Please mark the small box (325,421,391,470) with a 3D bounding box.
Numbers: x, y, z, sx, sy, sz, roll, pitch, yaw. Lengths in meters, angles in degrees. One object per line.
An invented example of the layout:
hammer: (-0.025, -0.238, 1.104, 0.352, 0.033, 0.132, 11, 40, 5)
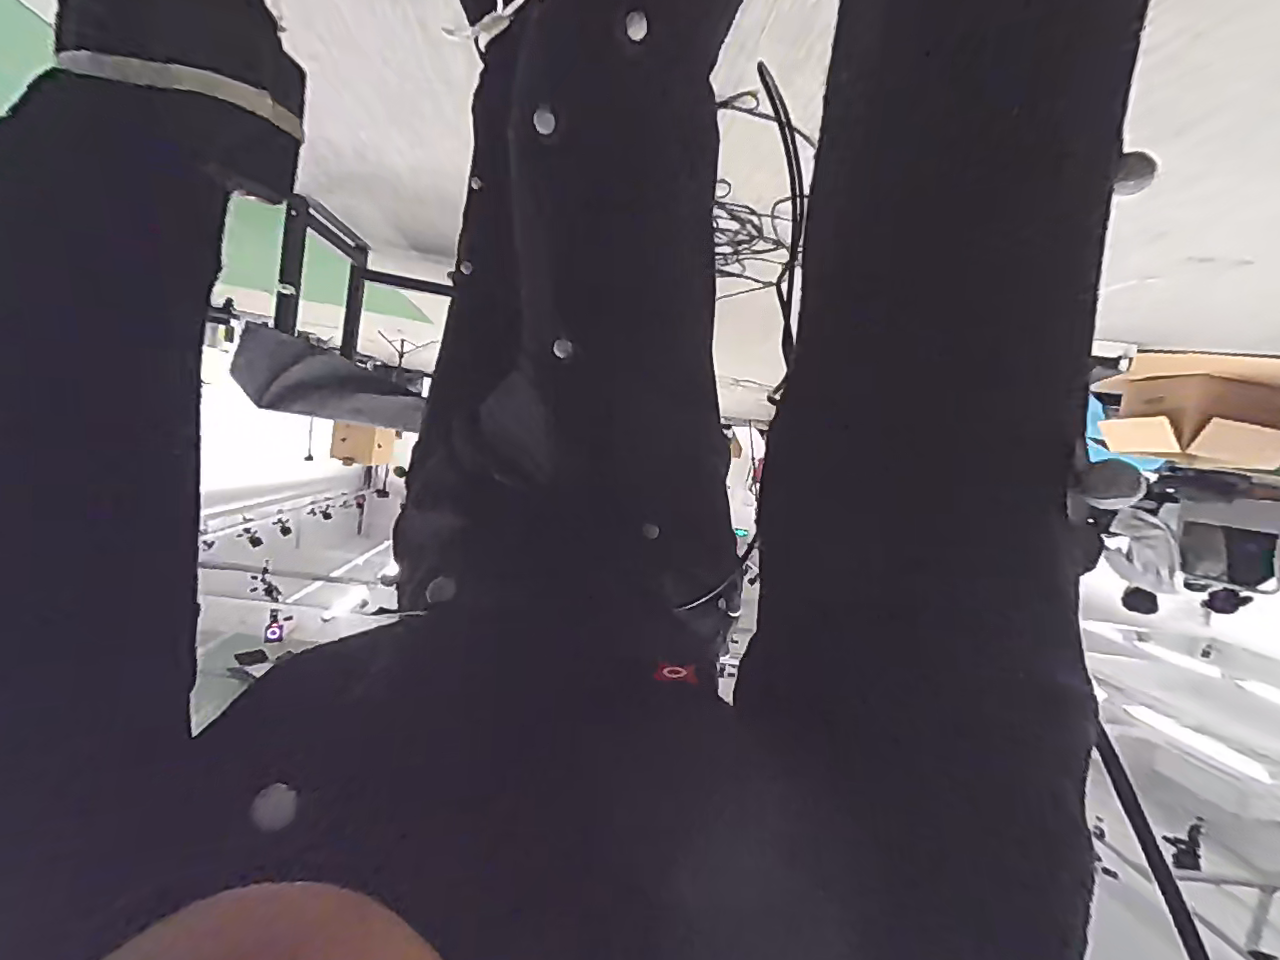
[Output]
small box: (-1.109, -0.138, 2.134, 0.168, 0.176, 0.179, 11, -175, 0)
